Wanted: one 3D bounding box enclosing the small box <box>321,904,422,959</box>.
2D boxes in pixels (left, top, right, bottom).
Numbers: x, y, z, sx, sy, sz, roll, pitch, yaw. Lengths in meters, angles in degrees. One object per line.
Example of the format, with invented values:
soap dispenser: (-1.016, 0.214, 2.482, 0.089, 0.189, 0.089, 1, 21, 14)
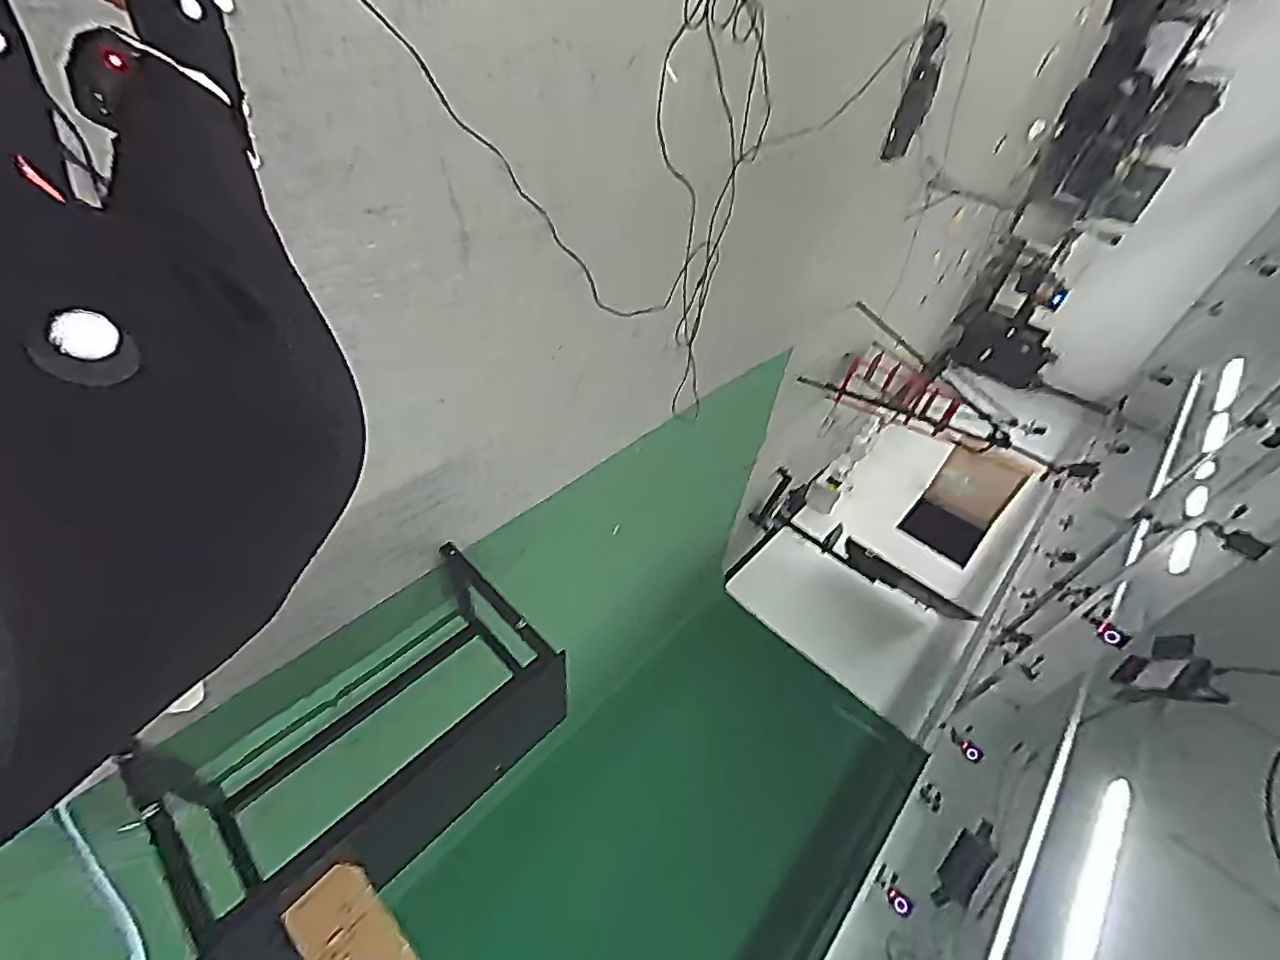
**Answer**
small box: (-0.751, 1.336, 1.519, 0.168, 0.176, 0.179, -40, 152, -27)
